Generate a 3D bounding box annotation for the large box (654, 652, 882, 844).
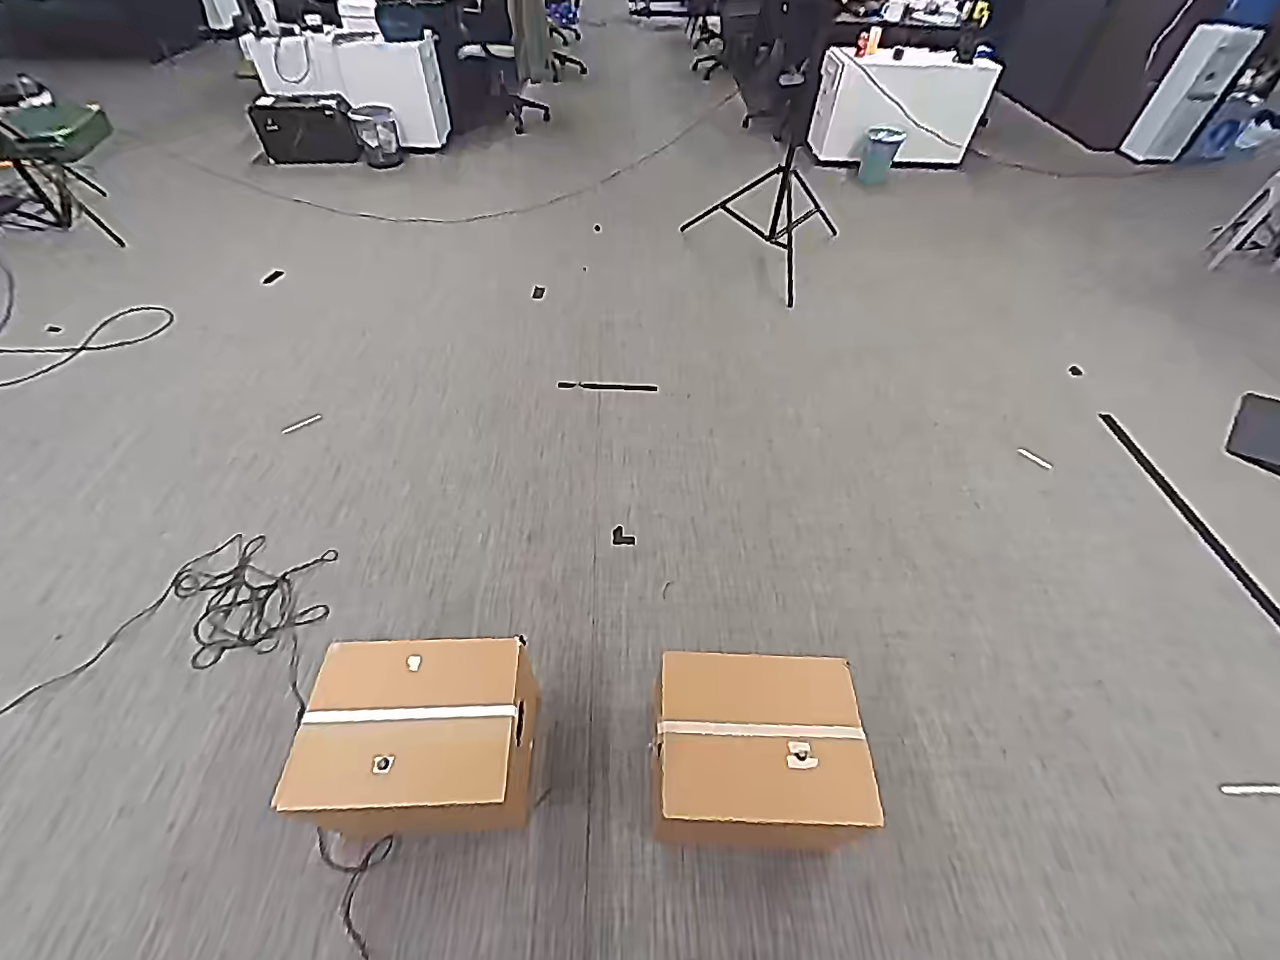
[{"bbox_3d":[0.240,0.595,1.191,0.408,0.320,0.320,3,50,-1],"label":"large box"}]
